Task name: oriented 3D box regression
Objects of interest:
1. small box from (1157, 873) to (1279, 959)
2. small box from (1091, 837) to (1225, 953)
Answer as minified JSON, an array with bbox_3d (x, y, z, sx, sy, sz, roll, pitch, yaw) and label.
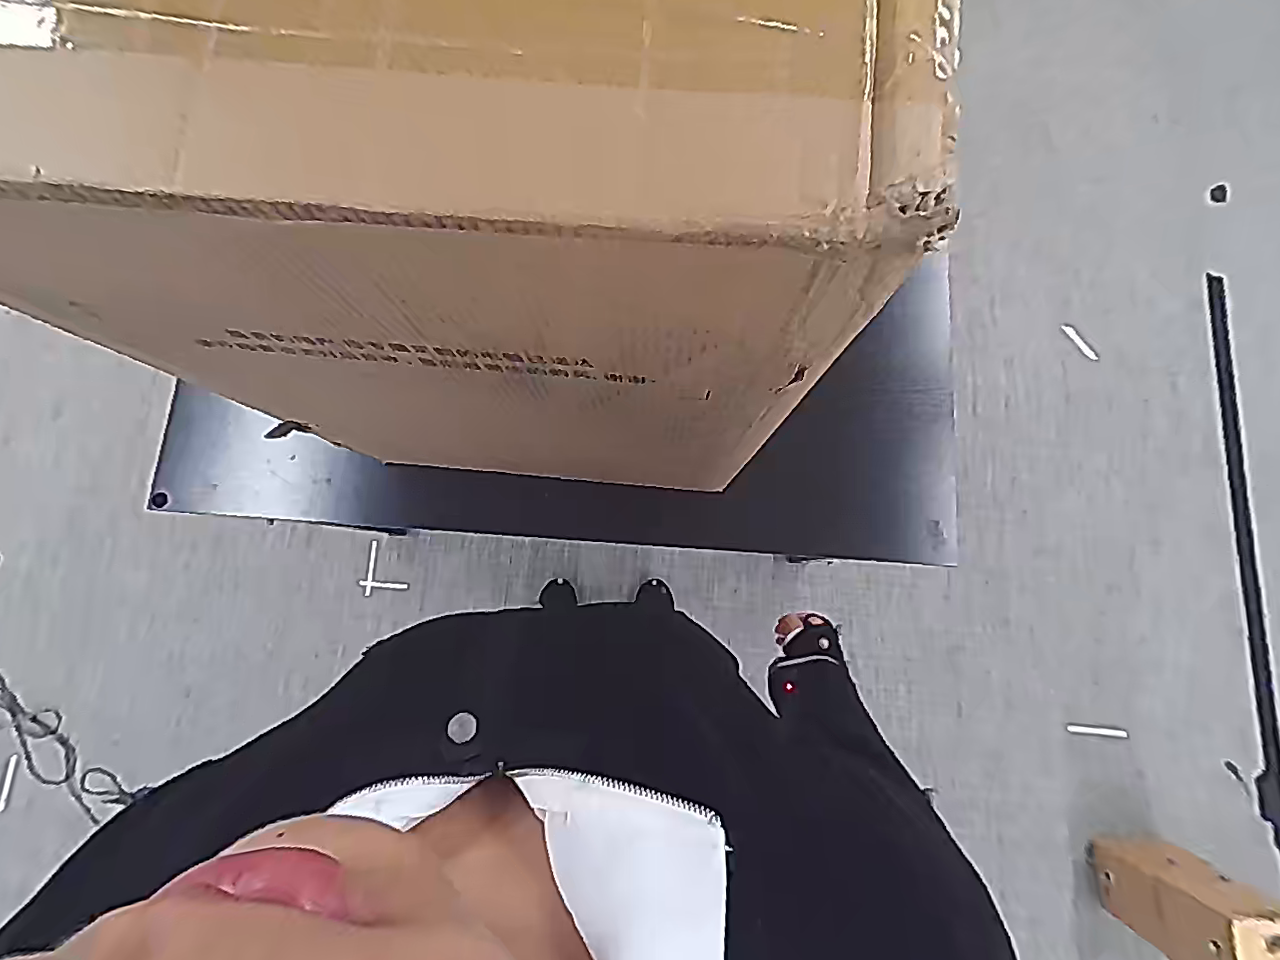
[{"bbox_3d":[1.233,0.950,1.120,0.168,0.176,0.179,0,81,1],"label":"small box"},{"bbox_3d":[1.233,0.974,1.284,0.179,0.176,0.168,-3,79,2],"label":"small box"}]
